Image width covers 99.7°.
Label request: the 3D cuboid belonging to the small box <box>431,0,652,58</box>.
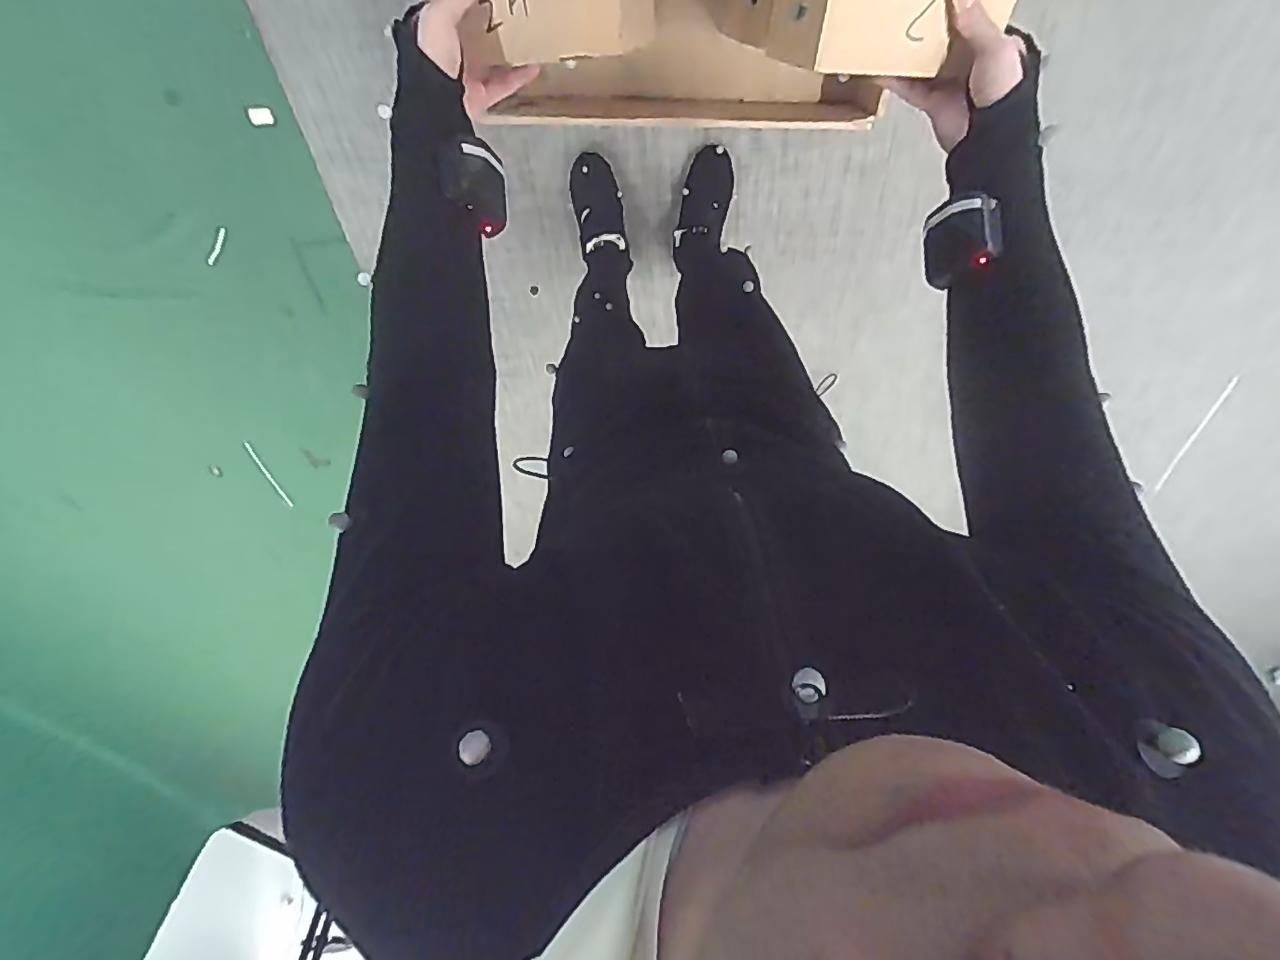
[{"bbox_3d":[-0.089,-0.497,0.474,0.168,0.176,0.179,4,135,13],"label":"small box"}]

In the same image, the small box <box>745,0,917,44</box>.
[{"bbox_3d":[0.219,-0.610,0.606,0.168,0.176,0.179,1,131,-2],"label":"small box"}]
